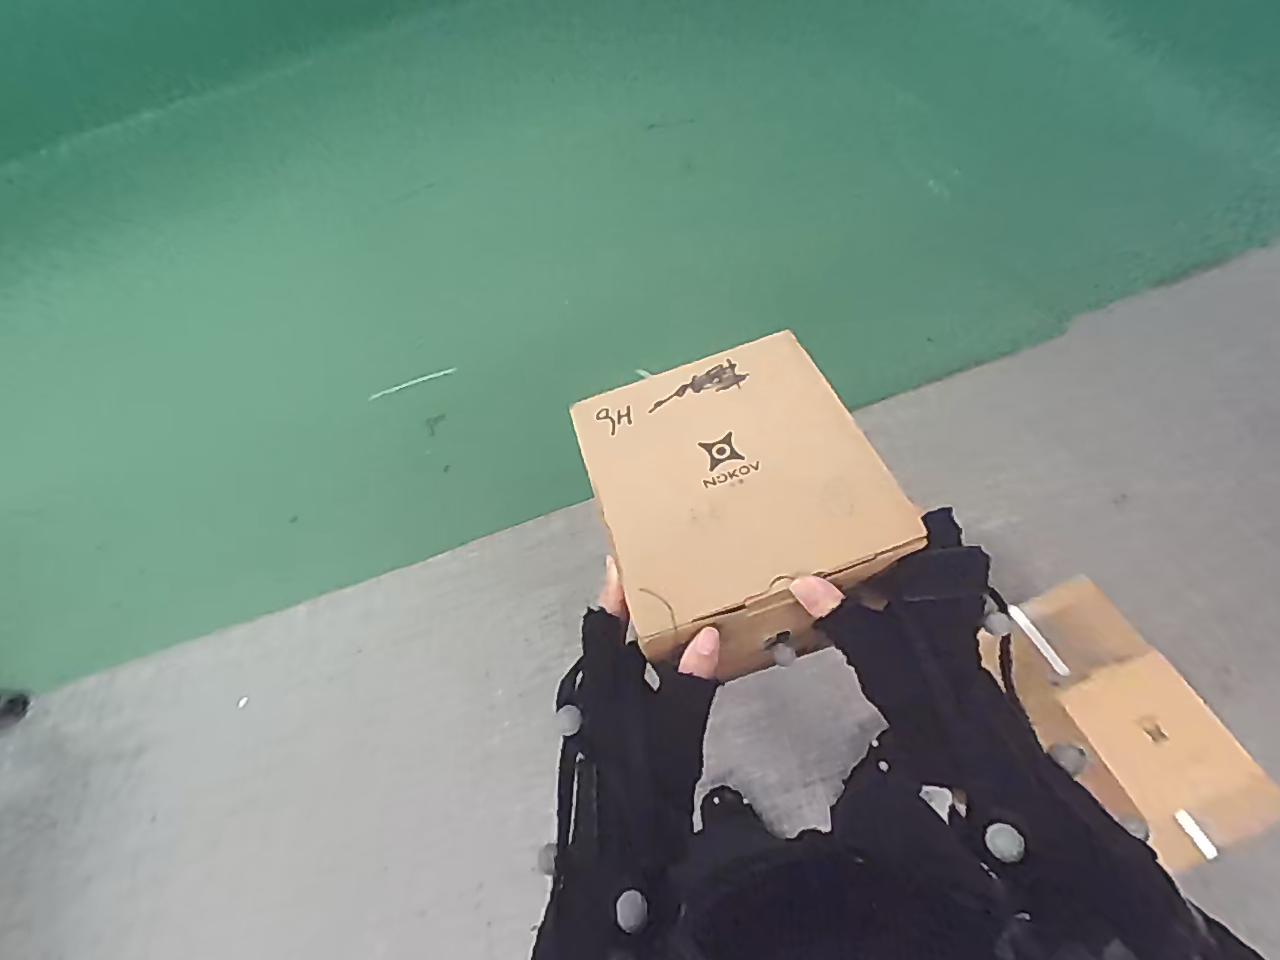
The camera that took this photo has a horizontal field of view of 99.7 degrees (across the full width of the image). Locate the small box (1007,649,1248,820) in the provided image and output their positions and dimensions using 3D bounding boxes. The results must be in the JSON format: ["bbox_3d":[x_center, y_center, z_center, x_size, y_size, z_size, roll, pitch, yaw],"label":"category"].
[{"bbox_3d":[0.712,0.382,0.820,0.168,0.176,0.179,-24,63,-1],"label":"small box"}]

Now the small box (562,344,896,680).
[{"bbox_3d":[0.058,0.037,0.411,0.168,0.176,0.179,-20,57,-1],"label":"small box"}]
